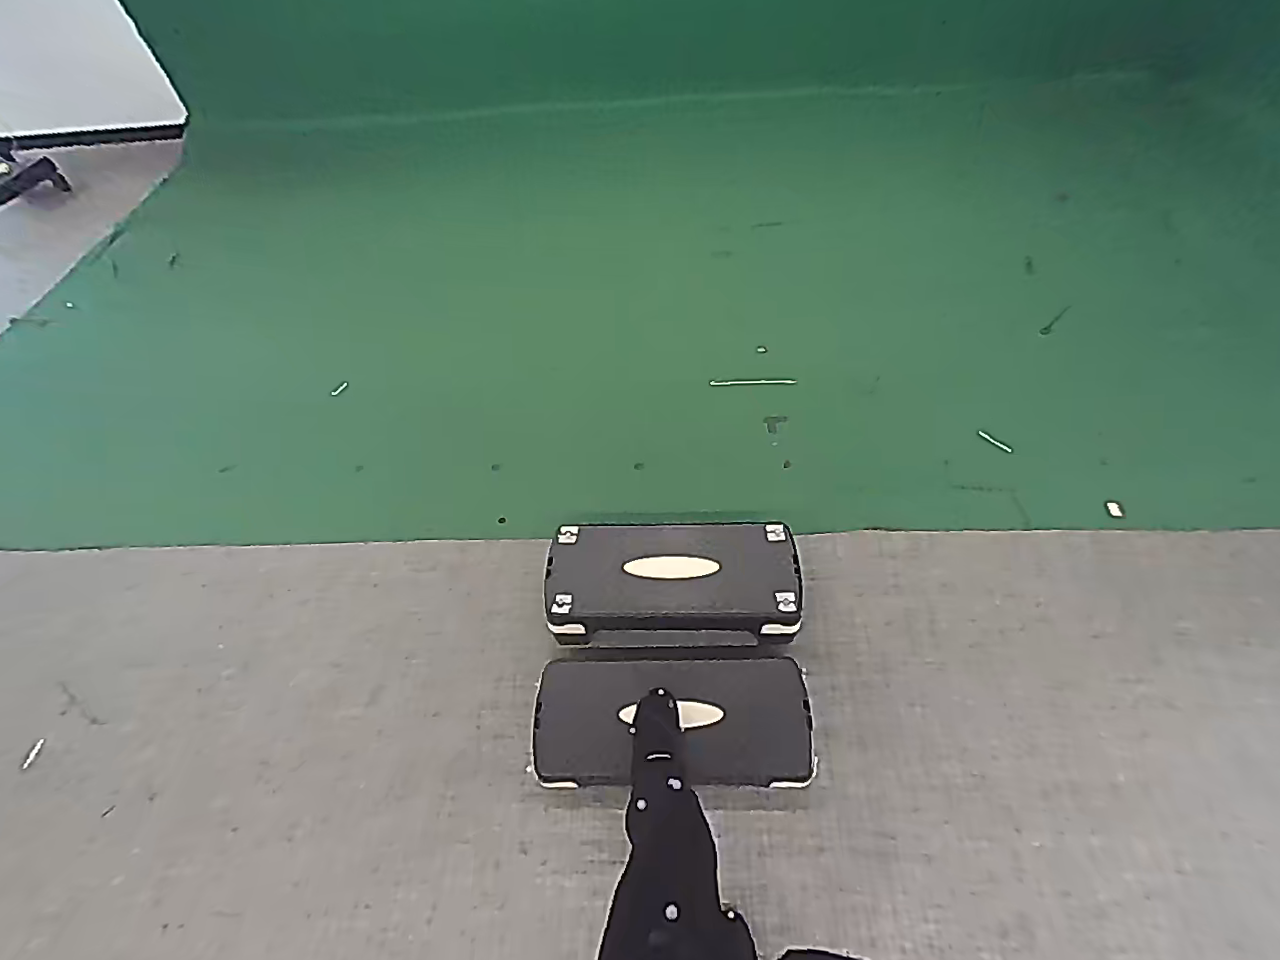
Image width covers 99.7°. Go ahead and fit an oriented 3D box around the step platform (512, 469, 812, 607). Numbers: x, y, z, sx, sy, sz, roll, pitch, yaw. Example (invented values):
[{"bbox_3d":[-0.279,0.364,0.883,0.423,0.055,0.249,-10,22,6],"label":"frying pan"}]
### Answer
[{"bbox_3d":[0.050,0.147,1.322,0.684,0.204,0.286,-2,55,4],"label":"step platform"}]
